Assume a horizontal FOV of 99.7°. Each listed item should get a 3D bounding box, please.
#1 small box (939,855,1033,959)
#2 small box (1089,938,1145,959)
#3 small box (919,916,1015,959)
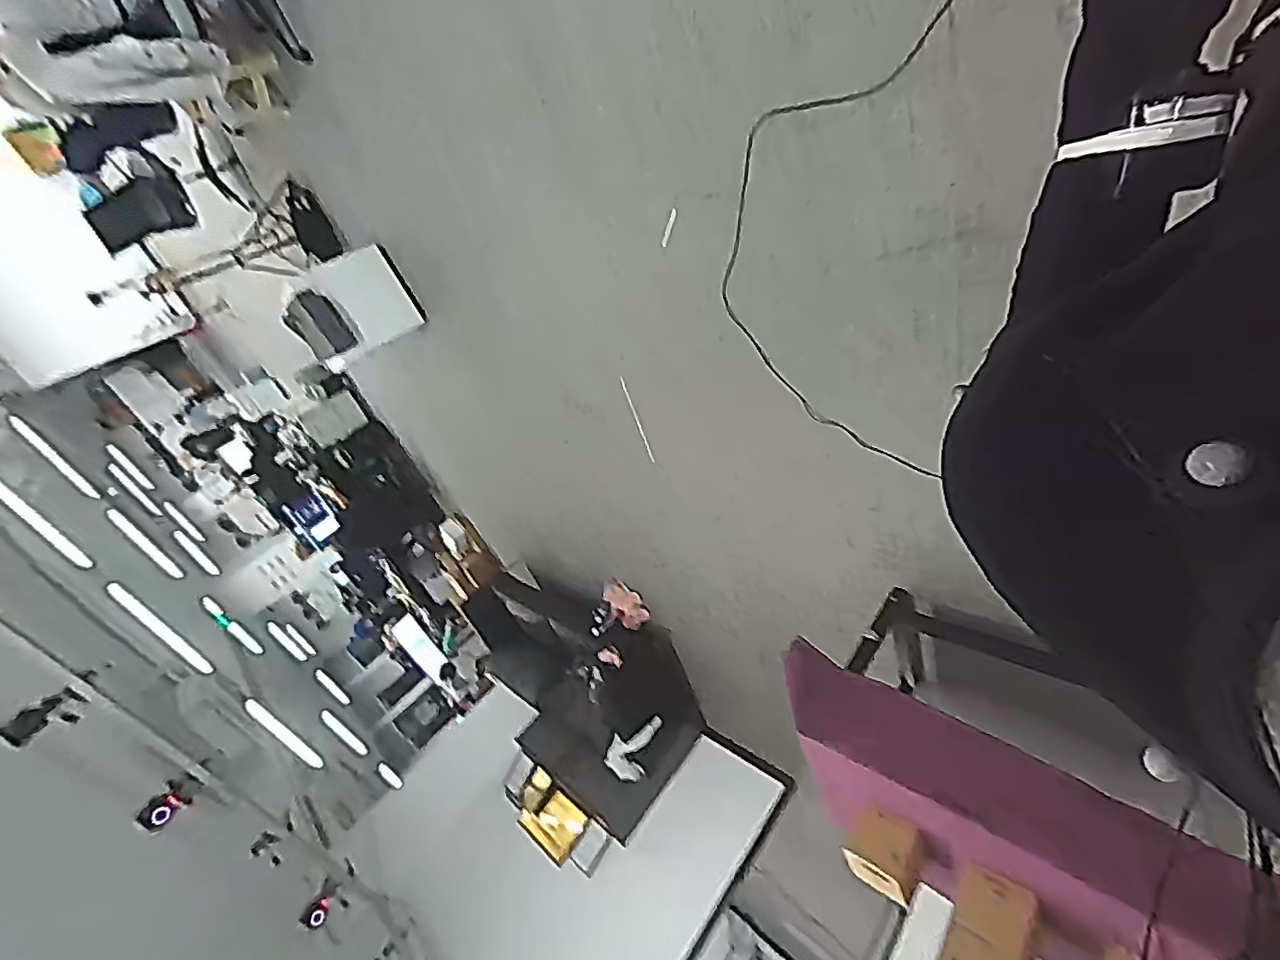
[{"bbox_3d":[0.950,1.187,1.478,0.168,0.176,0.179,4,127,50],"label":"small box"},{"bbox_3d":[1.152,1.226,1.261,0.179,0.176,0.168,11,133,47],"label":"small box"},{"bbox_3d":[0.846,1.279,1.393,0.179,0.176,0.168,6,131,48],"label":"small box"}]
